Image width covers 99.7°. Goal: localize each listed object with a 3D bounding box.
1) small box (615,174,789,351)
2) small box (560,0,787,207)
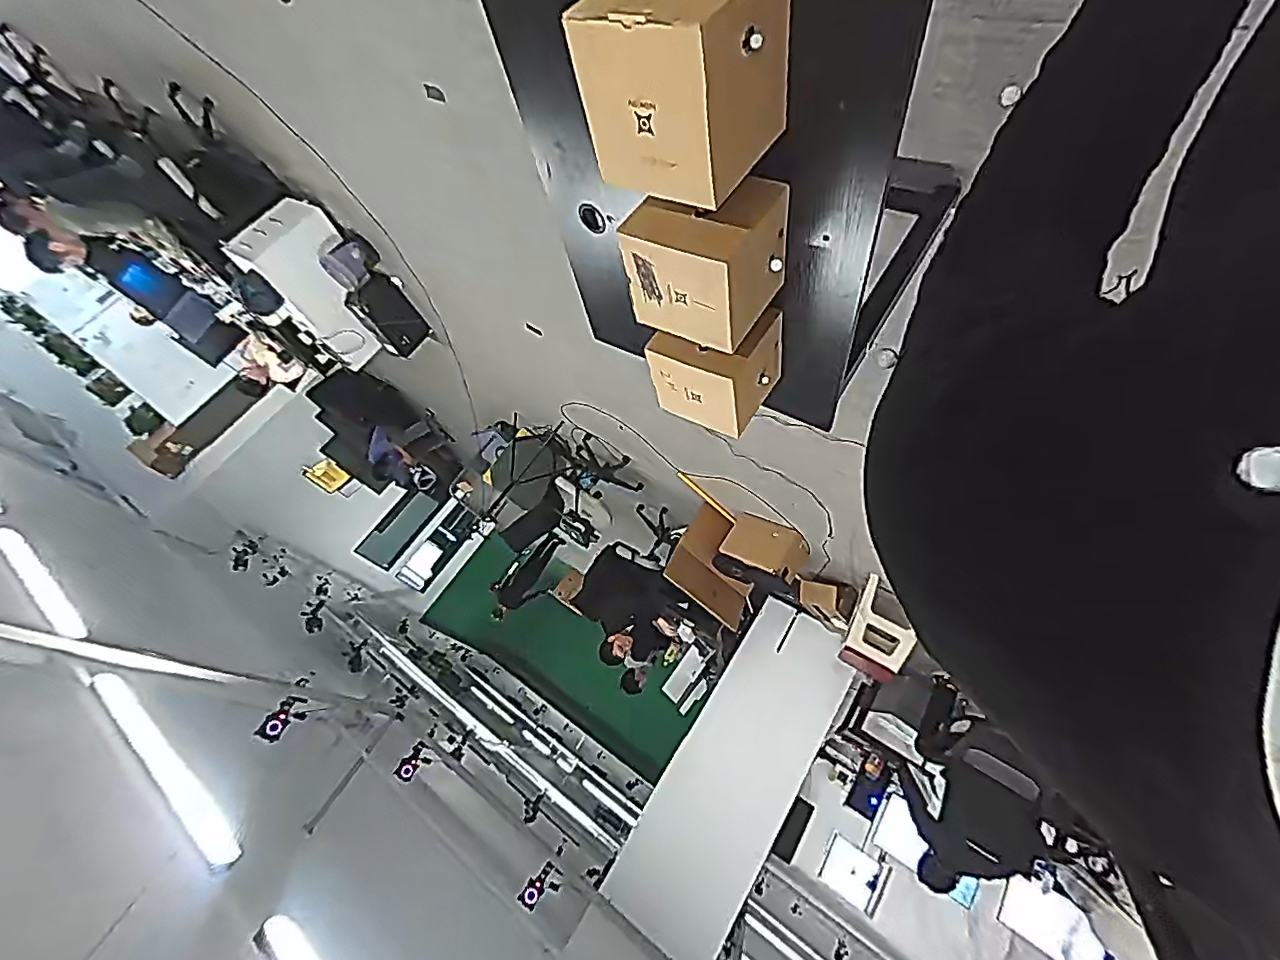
[{"bbox_3d":[0.094,-0.326,0.785,0.179,0.176,0.168,27,160,24],"label":"small box"},{"bbox_3d":[0.047,-0.443,0.591,0.168,0.176,0.179,28,161,25],"label":"small box"}]
